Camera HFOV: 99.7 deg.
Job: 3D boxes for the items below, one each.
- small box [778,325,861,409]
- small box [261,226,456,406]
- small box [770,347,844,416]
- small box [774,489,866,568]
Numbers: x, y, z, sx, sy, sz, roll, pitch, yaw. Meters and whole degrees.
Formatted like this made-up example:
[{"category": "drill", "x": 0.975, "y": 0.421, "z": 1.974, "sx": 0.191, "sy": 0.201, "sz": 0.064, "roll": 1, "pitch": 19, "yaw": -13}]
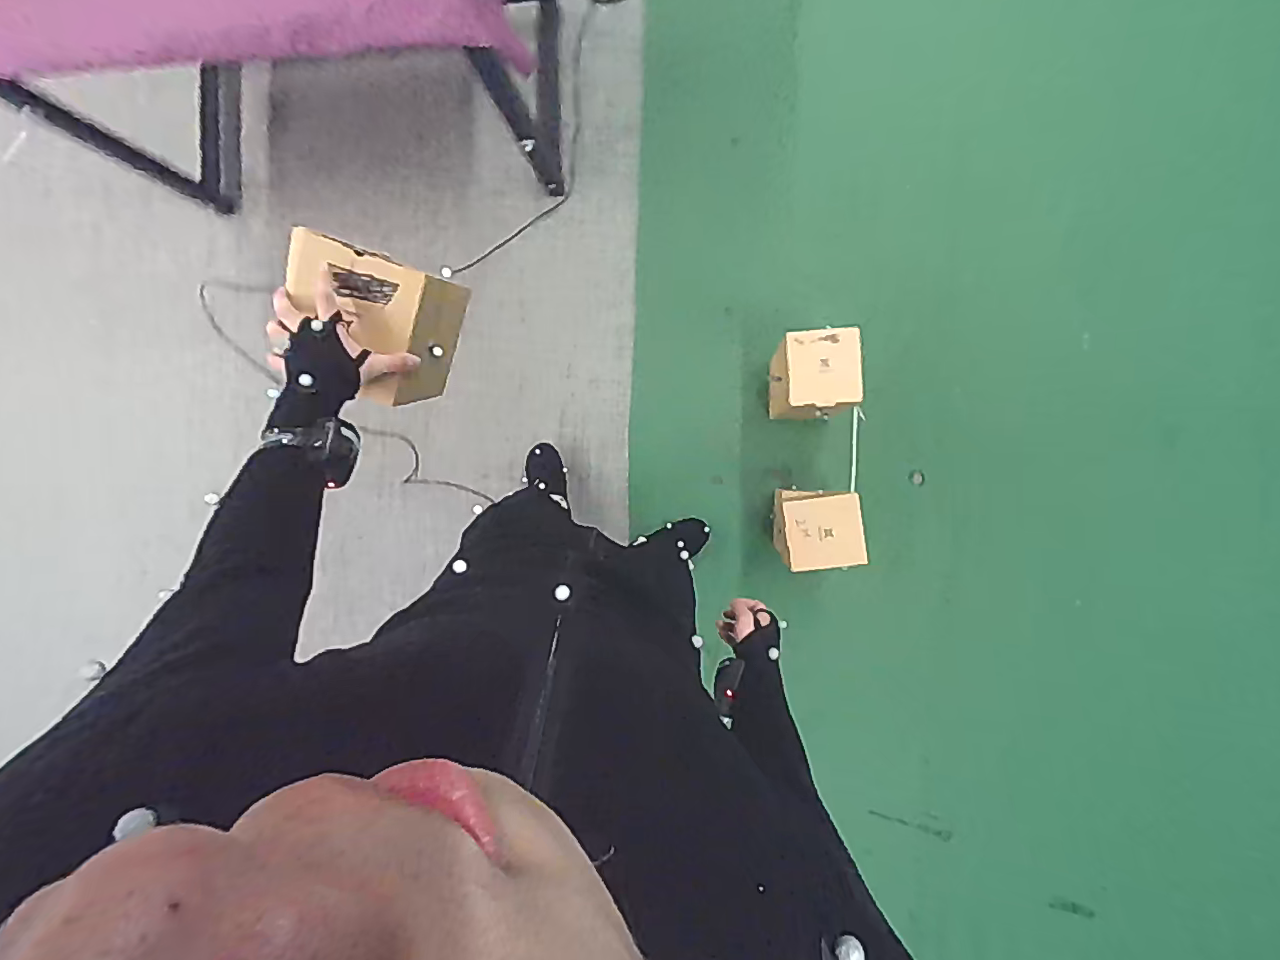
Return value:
[{"category": "small box", "x": 0.433, "y": -0.267, "z": 1.318, "sx": 0.168, "sy": 0.176, "sz": 0.179, "roll": -1, "pitch": 91, "yaw": 7}, {"category": "small box", "x": -0.375, "y": -0.221, "z": 0.750, "sx": 0.168, "sy": 0.176, "sz": 0.179, "roll": 20, "pitch": 105, "yaw": -2}, {"category": "small box", "x": 0.453, "y": -0.265, "z": 1.481, "sx": 0.179, "sy": 0.176, "sz": 0.168, "roll": 1, "pitch": 91, "yaw": 7}, {"category": "small box", "x": 0.434, "y": 0.115, "z": 1.325, "sx": 0.179, "sy": 0.176, "sz": 0.168, "roll": -7, "pitch": 90, "yaw": 8}]
